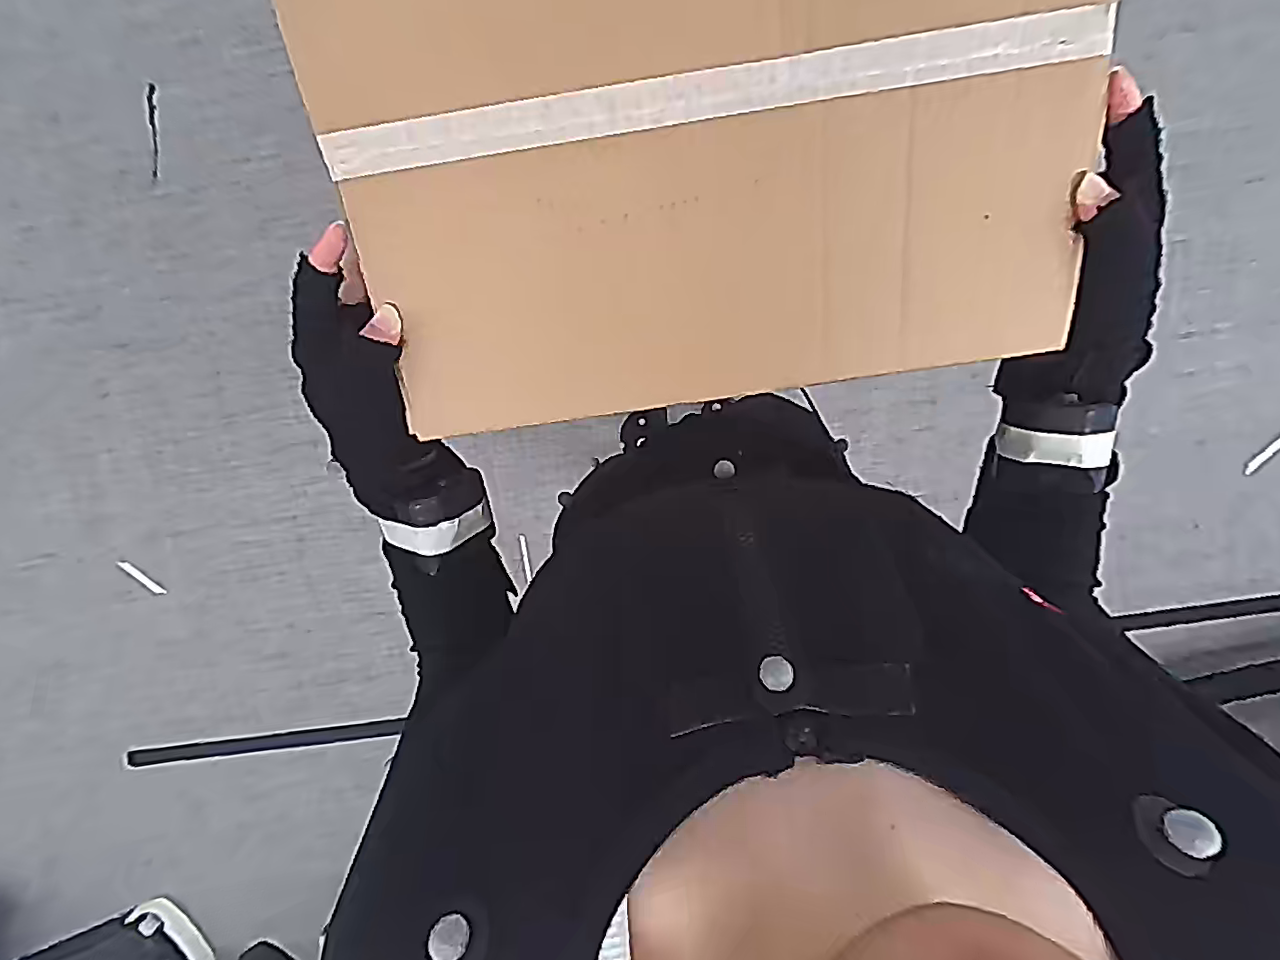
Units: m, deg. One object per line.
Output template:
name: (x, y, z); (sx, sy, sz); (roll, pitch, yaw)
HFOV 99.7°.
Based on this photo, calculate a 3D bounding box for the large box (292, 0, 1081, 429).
large box: (0.027, -0.256, 0.430); (0.408, 0.320, 0.320); (-8, 112, 1)
